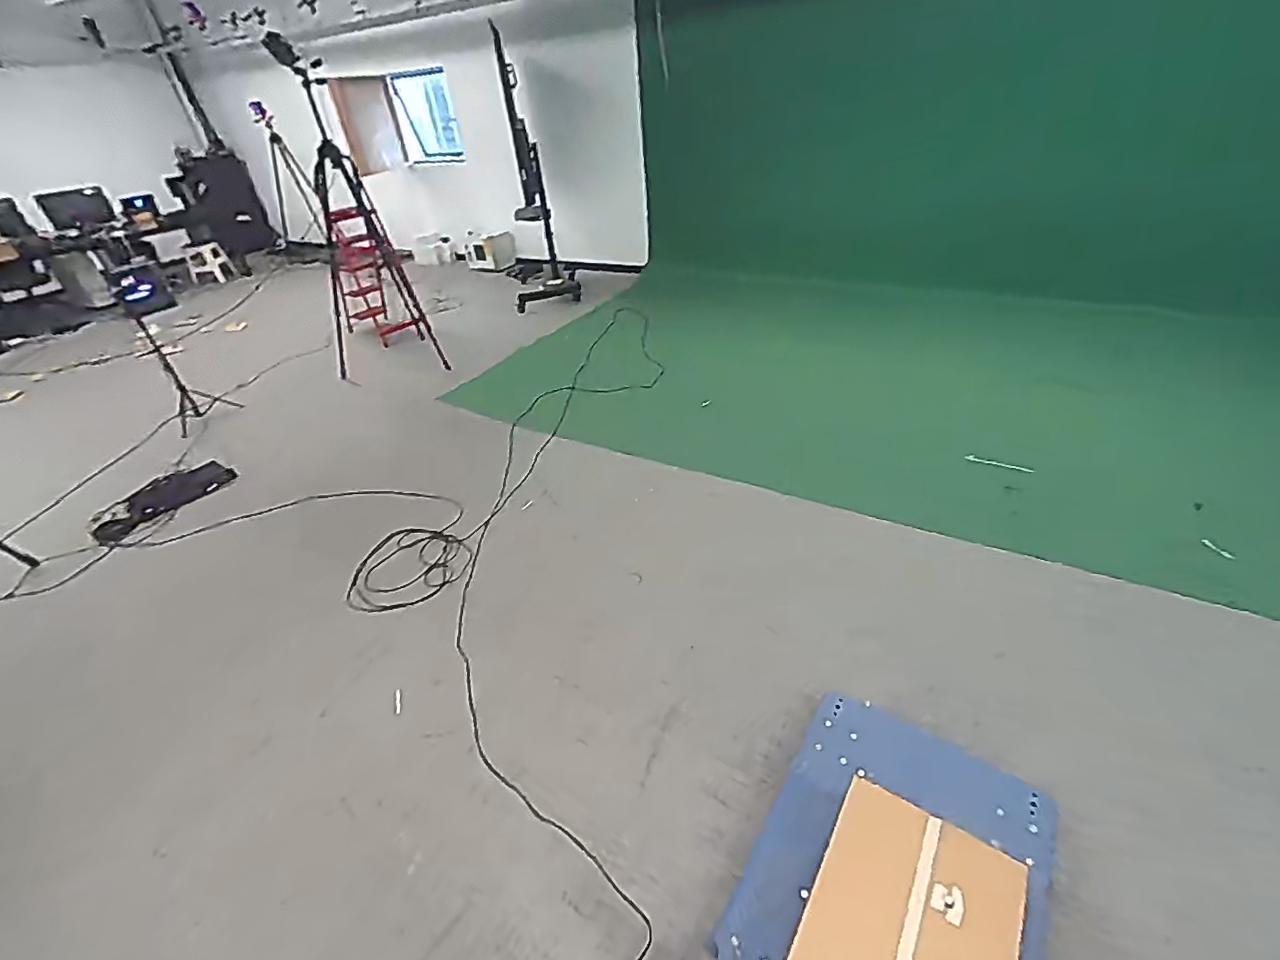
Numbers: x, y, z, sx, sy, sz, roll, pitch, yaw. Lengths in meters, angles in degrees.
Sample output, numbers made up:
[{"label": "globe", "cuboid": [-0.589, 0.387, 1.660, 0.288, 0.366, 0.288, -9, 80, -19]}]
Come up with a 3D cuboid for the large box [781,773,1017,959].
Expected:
[{"label": "large box", "cuboid": [0.468, 0.881, 1.022, 0.320, 0.320, 0.408, 20, 43, 29]}]
